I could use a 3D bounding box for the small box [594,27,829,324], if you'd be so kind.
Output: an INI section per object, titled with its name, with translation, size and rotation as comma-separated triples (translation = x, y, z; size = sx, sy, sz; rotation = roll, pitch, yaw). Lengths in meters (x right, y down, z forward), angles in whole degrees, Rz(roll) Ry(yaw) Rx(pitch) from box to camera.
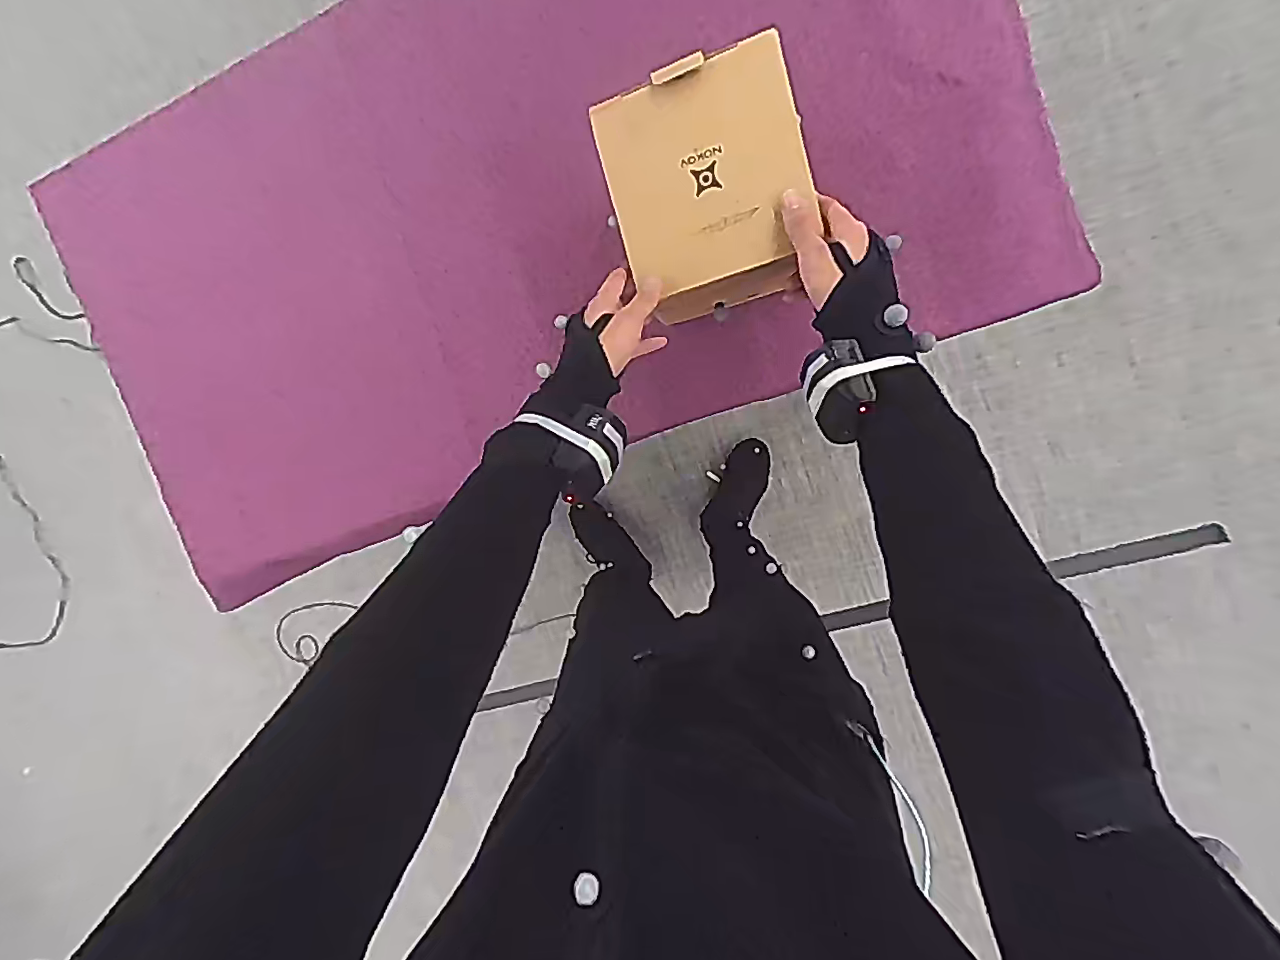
[small box]
translation = 0.072, -0.268, 0.527
size = 0.168, 0.176, 0.179
rotation = -14, 96, 13
